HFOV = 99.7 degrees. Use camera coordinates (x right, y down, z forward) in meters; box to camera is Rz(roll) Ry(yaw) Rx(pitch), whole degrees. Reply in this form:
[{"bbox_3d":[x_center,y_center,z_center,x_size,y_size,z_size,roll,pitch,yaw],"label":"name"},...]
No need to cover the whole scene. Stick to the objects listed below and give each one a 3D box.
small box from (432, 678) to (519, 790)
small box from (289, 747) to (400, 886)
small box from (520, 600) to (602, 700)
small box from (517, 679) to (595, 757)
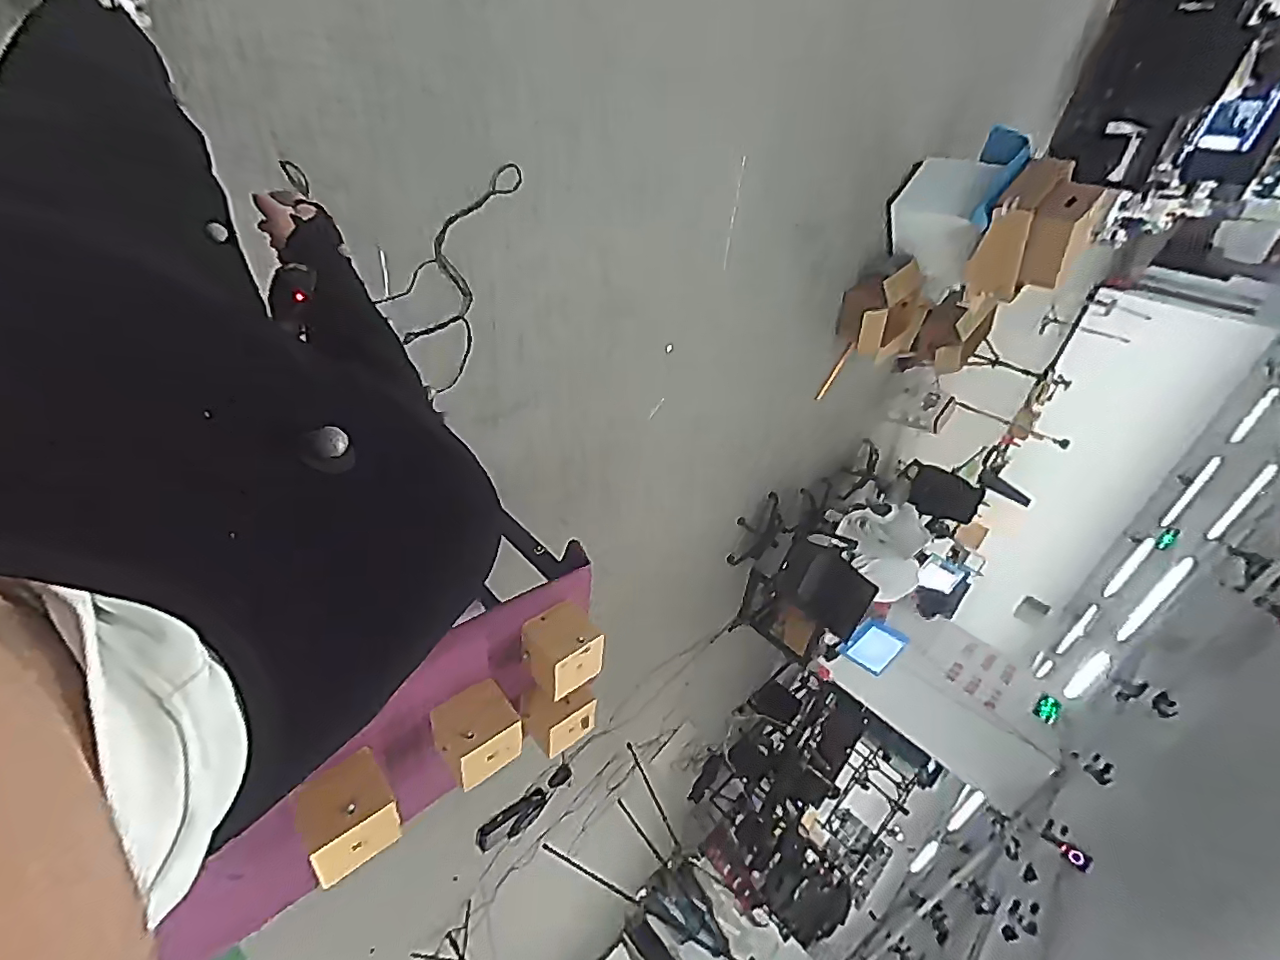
[{"bbox_3d":[-0.445,0.676,1.457,0.179,0.176,0.168,-22,135,-38],"label":"small box"},{"bbox_3d":[-0.685,0.769,1.251,0.179,0.176,0.168,-23,134,-39],"label":"small box"},{"bbox_3d":[-0.231,0.479,1.546,0.168,0.176,0.179,-24,137,-37],"label":"small box"},{"bbox_3d":[-0.267,0.719,1.706,0.179,0.176,0.168,-22,134,-37],"label":"small box"}]
